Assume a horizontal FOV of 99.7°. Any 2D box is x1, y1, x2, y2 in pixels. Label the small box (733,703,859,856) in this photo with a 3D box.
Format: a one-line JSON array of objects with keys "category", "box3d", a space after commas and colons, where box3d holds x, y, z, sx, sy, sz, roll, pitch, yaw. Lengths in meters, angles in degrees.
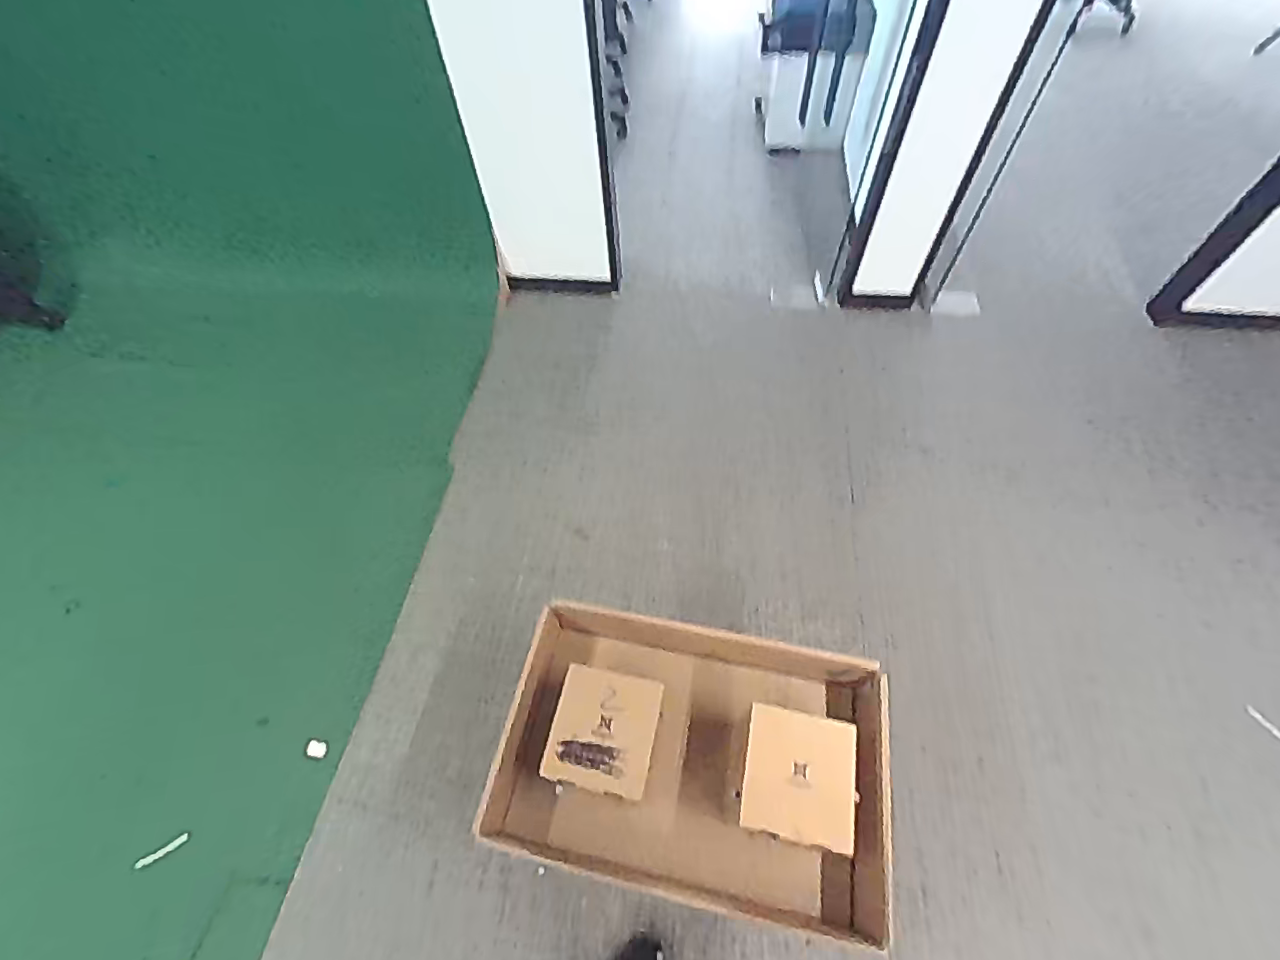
[{"category": "small box", "box3d": [0.249, 0.488, 0.885, 0.168, 0.176, 0.179, 9, 60, 9]}]
